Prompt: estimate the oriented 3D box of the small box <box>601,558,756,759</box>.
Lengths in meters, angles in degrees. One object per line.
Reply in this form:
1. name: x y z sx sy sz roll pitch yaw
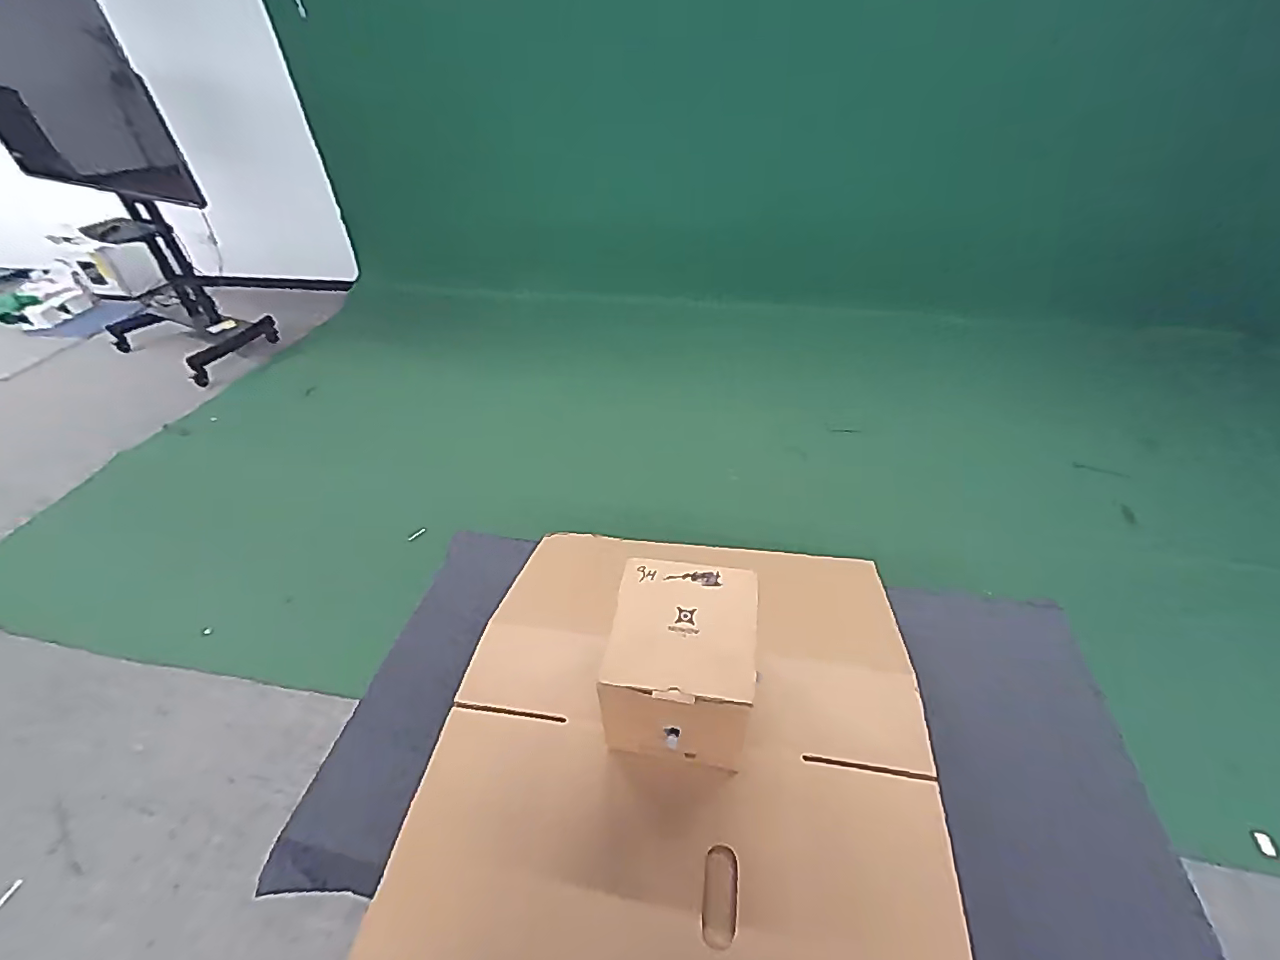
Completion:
1. small box: 0.055 0.222 0.673 0.168 0.176 0.179 4 42 8
